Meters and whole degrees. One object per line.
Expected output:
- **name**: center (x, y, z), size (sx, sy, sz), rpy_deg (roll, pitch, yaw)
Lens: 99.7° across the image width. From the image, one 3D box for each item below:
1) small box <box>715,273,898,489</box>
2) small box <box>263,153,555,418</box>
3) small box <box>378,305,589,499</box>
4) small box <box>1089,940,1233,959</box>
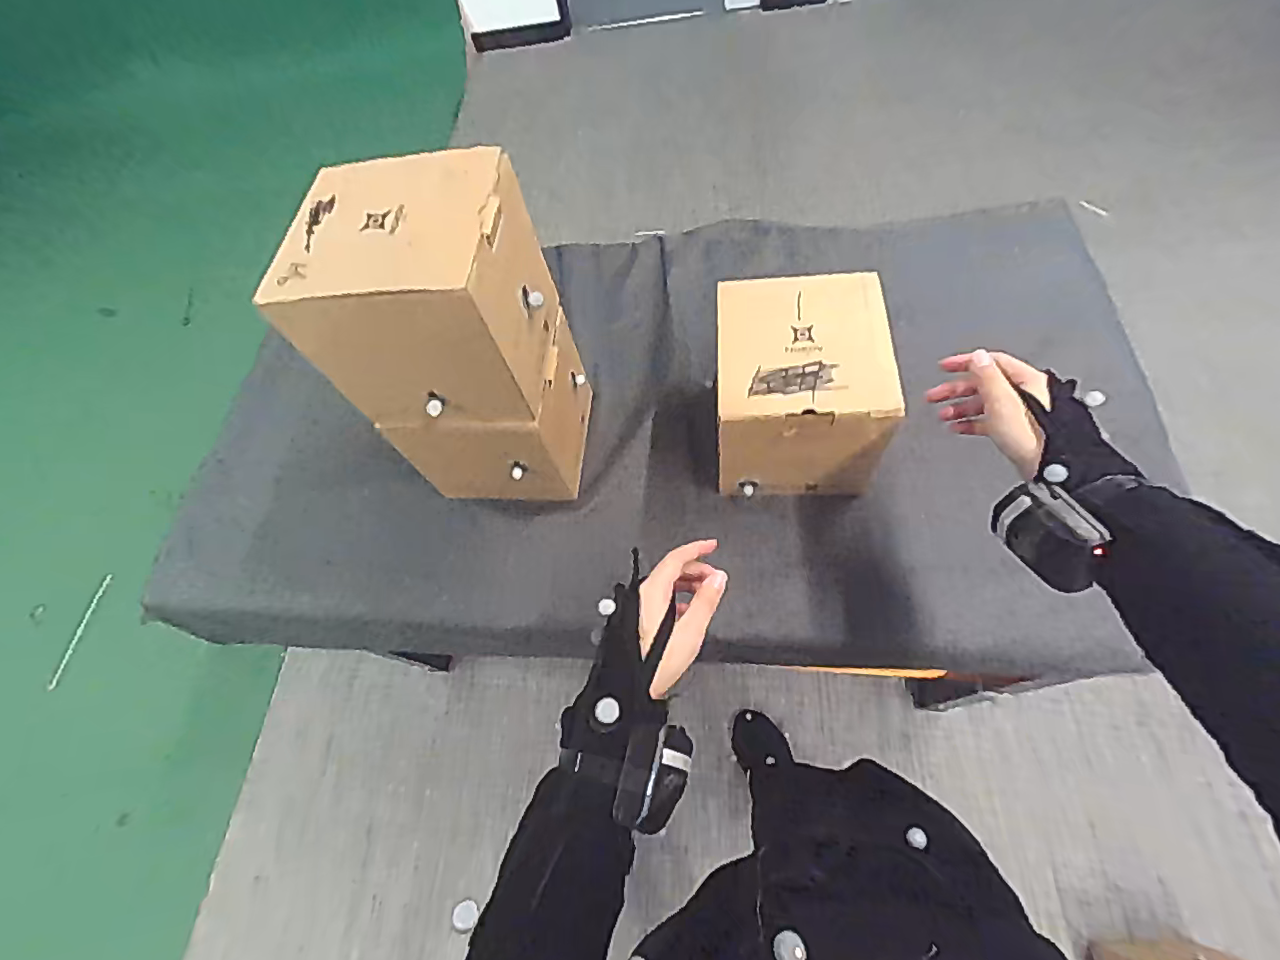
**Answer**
- **small box**: center (0.168, -0.099, 0.602), size (0.168, 0.176, 0.179), rpy_deg (0, 62, 8)
- **small box**: center (-0.188, -0.170, 0.507), size (0.179, 0.176, 0.168), rpy_deg (0, 62, 8)
- **small box**: center (-0.166, -0.086, 0.646), size (0.179, 0.176, 0.168), rpy_deg (0, 61, 9)
- **small box**: center (0.860, 0.836, 0.834), size (0.179, 0.176, 0.168), rpy_deg (-5, 61, 6)
